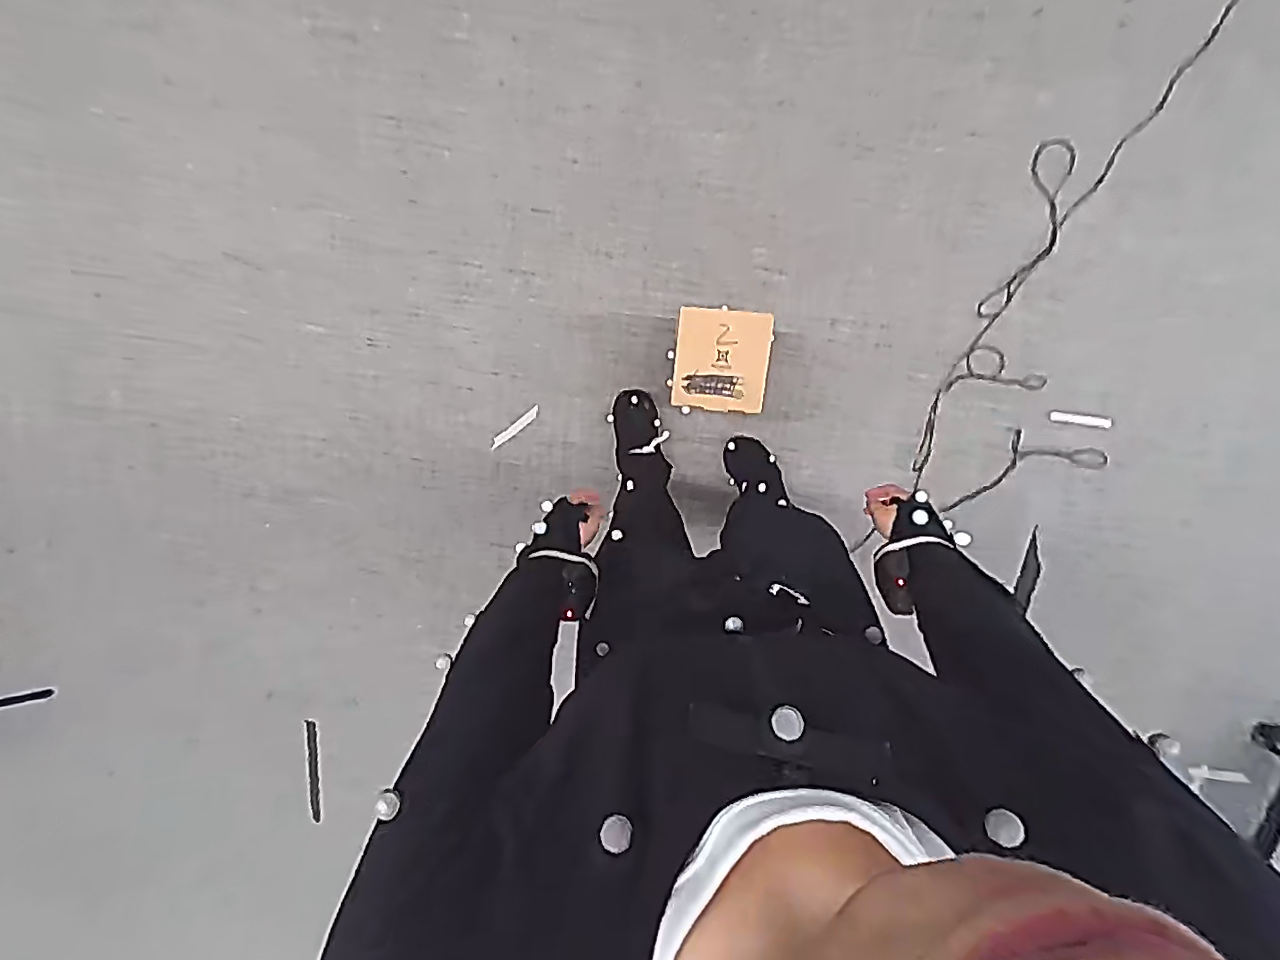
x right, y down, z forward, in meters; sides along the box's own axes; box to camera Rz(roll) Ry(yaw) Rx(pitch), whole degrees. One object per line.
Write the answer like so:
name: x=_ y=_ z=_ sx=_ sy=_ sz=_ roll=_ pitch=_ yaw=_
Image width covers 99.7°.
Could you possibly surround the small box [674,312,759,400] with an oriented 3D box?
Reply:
small box: x=0.160 y=-0.271 z=1.182 sx=0.168 sy=0.176 sz=0.179 roll=1 pitch=105 yaw=4
